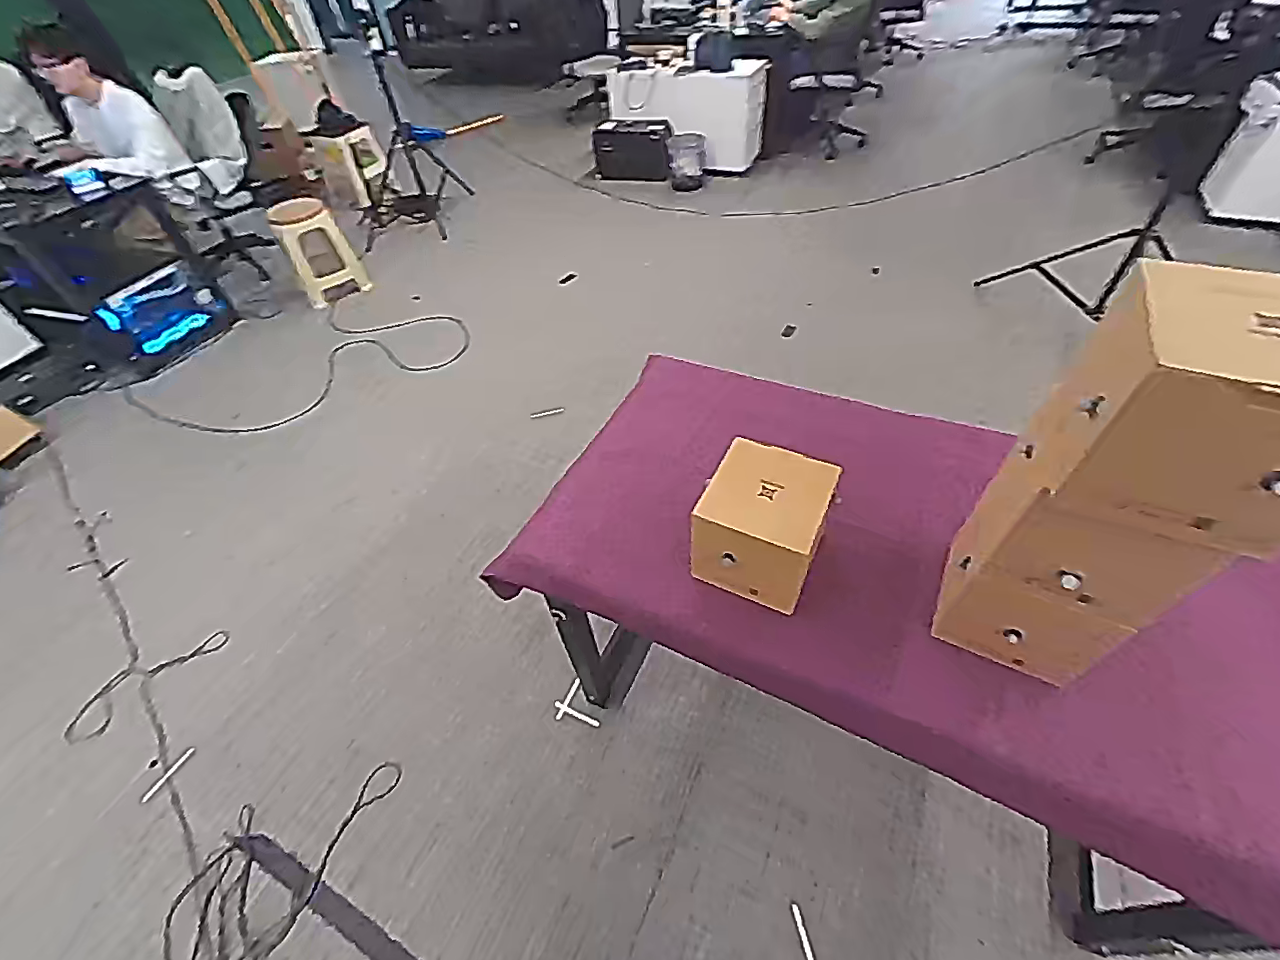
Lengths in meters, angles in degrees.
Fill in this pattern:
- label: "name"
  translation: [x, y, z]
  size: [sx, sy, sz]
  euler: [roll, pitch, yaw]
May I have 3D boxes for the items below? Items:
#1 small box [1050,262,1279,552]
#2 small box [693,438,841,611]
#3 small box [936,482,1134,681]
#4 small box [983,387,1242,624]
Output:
- label: "small box"
  translation: [0.498, -0.064, 0.480]
  size: [0.168, 0.176, 0.179]
  euler: [18, 52, 19]
- label: "small box"
  translation: [0.191, 0.070, 0.831]
  size: [0.168, 0.176, 0.179]
  euler: [19, 51, 21]
- label: "small box"
  translation: [0.526, 0.139, 0.735]
  size: [0.168, 0.176, 0.179]
  euler: [21, 53, 22]
- label: "small box"
  translation: [0.518, 0.028, 0.614]
  size: [0.168, 0.176, 0.179]
  euler: [20, 54, 22]
